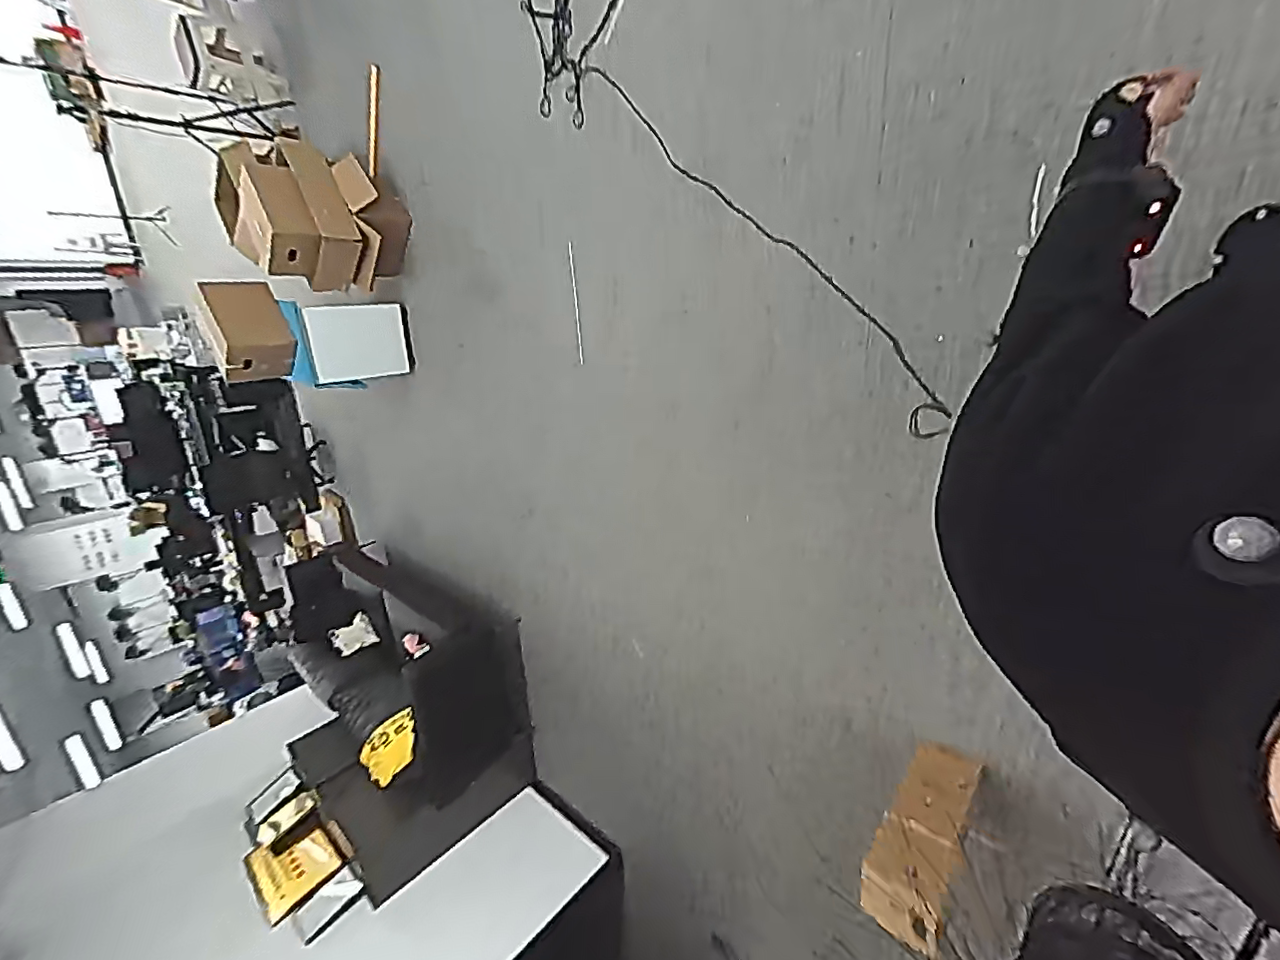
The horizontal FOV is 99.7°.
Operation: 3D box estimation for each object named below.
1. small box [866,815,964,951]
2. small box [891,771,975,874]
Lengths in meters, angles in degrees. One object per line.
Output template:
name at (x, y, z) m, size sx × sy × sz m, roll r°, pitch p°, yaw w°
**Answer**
small box at (0.682, 0.984, 1.339) m, size 0.179 × 0.176 × 0.168 m, roll 11°, pitch 114°, yaw 43°
small box at (0.788, 0.932, 1.456) m, size 0.168 × 0.176 × 0.179 m, roll 10°, pitch 112°, yaw 43°
